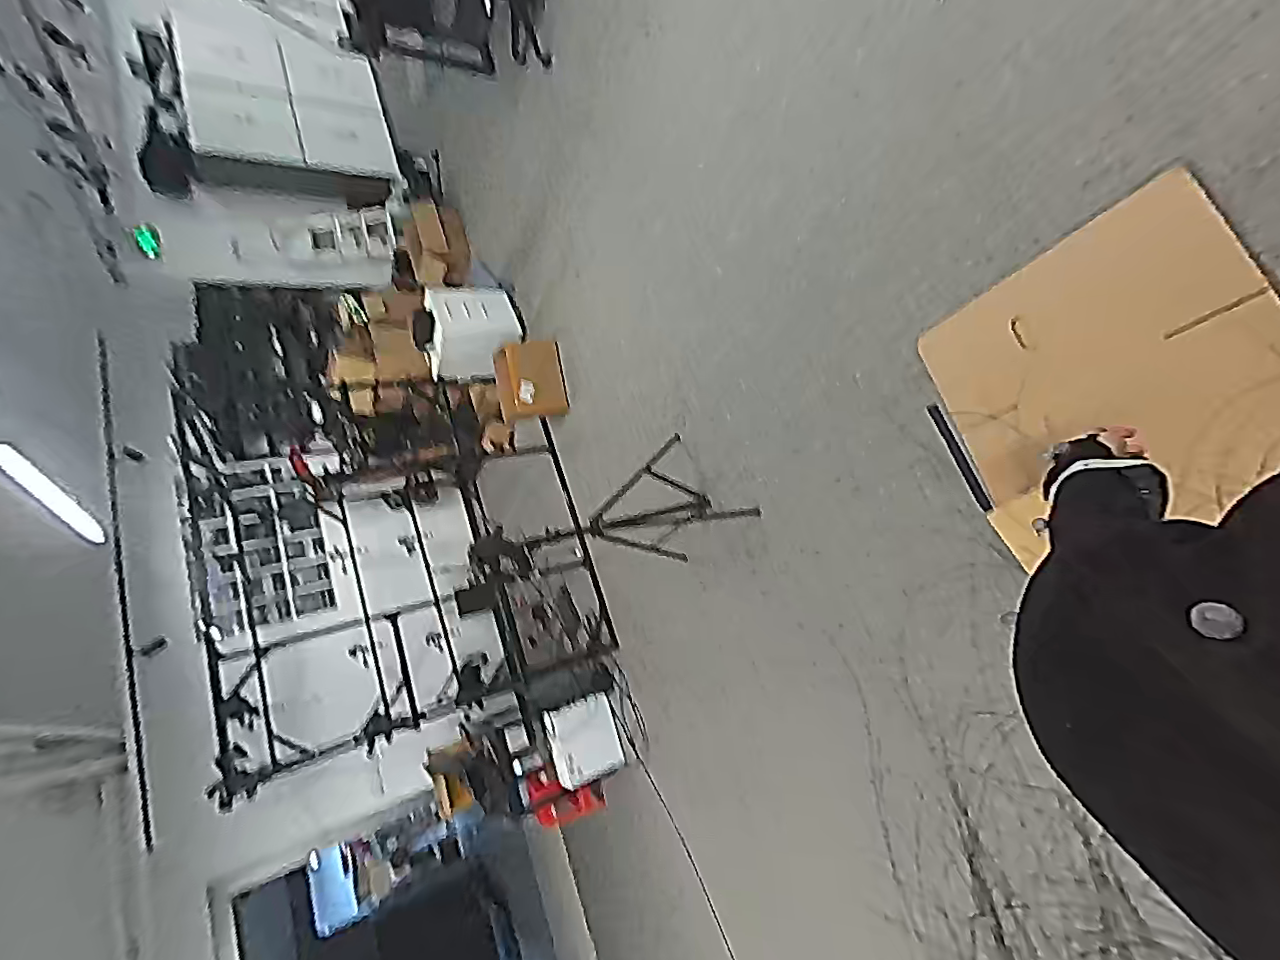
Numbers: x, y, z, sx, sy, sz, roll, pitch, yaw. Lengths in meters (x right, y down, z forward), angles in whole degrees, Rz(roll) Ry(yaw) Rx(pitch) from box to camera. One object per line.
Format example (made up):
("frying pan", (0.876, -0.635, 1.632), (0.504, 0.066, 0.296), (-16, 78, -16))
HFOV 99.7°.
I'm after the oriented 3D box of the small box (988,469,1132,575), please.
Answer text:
("small box", (0.958, 0.095, 1.236), (0.168, 0.176, 0.179), (64, 145, 21))
